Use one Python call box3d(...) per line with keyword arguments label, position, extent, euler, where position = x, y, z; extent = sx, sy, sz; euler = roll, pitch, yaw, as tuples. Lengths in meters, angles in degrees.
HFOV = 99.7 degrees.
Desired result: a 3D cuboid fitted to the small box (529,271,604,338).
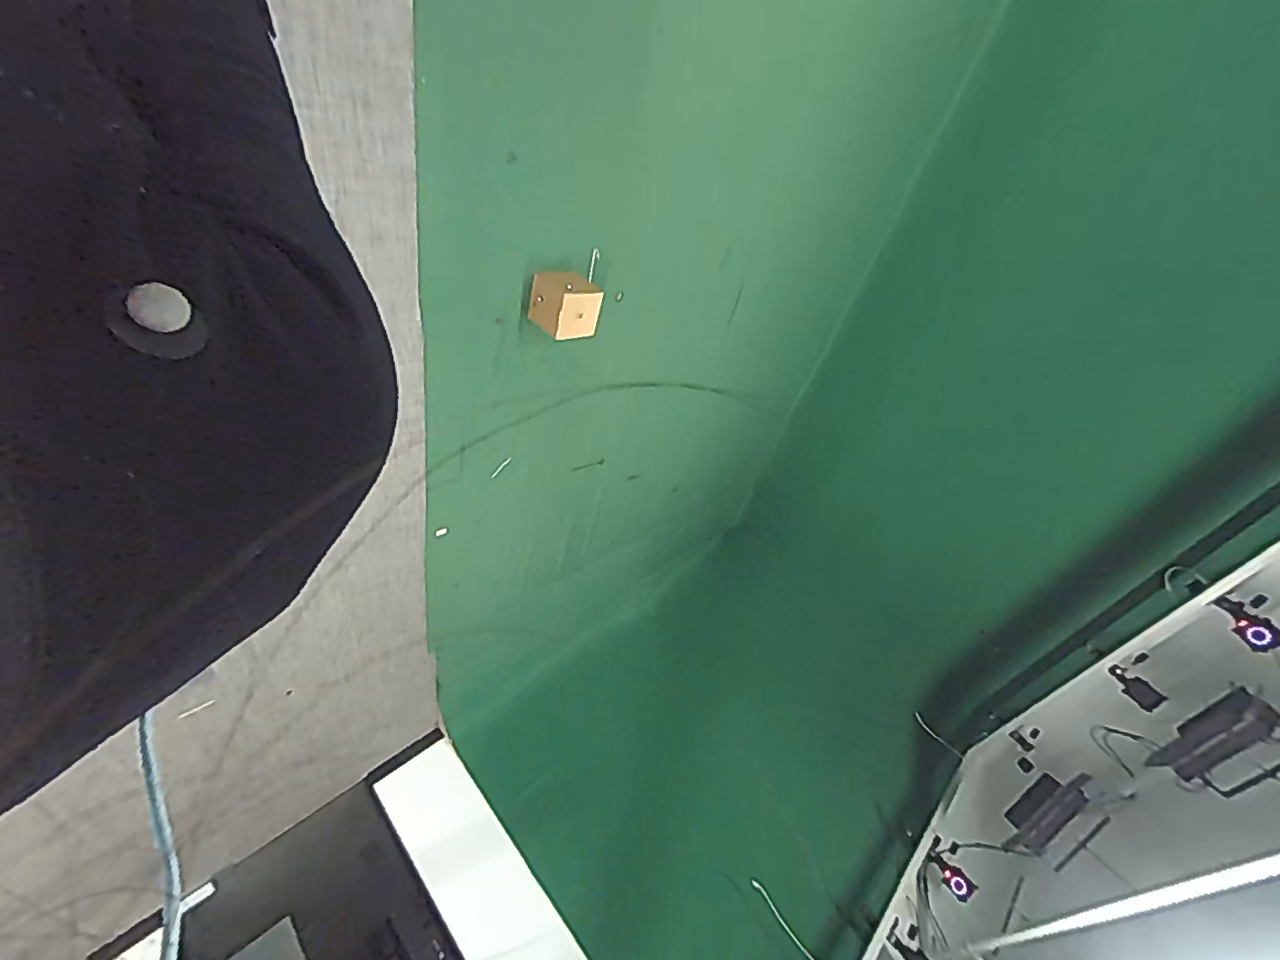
box3d(label="small box", position=(-0.260, -0.616, 1.883), extent=(0.179, 0.176, 0.168), euler=(-21, 143, -41))
